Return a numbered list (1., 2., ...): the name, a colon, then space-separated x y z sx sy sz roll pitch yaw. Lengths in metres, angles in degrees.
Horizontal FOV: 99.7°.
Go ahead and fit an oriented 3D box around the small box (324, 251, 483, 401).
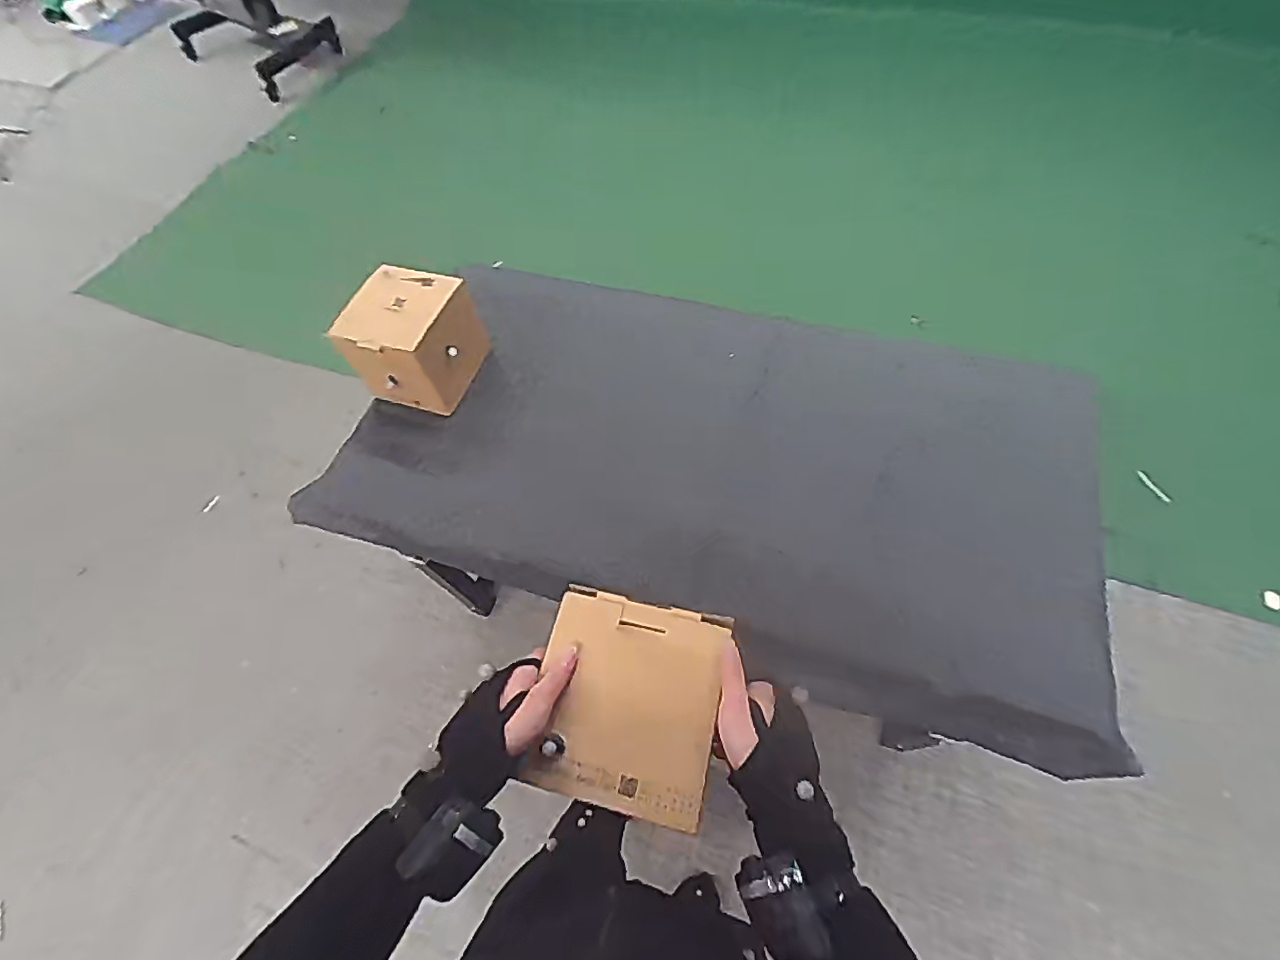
1. small box: -0.401 -0.265 0.955 0.168 0.176 0.179 15 65 10
